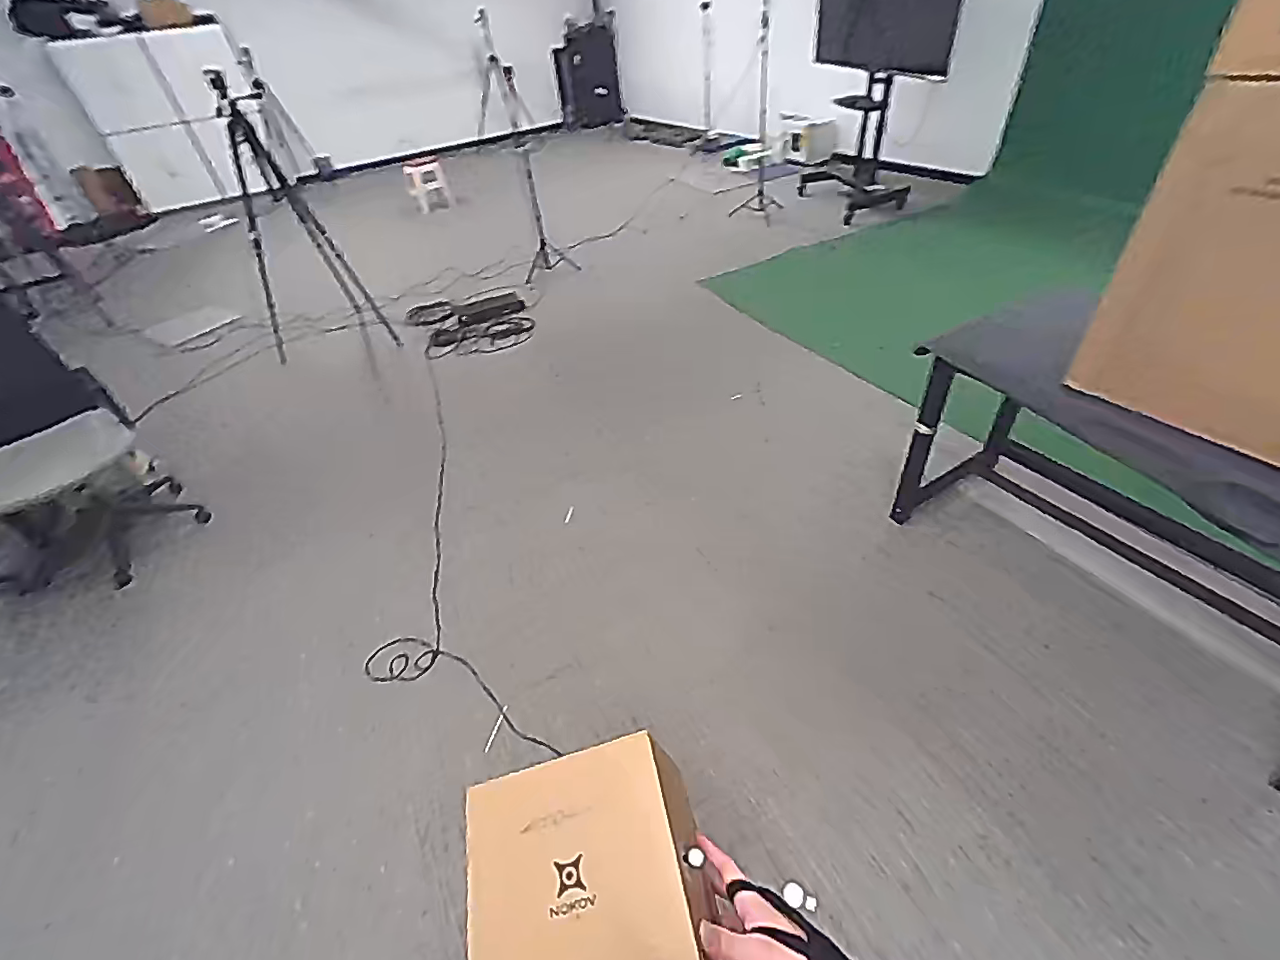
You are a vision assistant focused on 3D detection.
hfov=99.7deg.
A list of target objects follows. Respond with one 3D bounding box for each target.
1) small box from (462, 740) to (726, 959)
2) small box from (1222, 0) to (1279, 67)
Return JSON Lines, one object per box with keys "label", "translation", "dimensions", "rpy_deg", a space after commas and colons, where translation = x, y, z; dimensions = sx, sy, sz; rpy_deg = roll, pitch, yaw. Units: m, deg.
{"label": "small box", "translation": [-0.034, 0.353, 0.459], "dimensions": [0.168, 0.176, 0.179], "rpy_deg": [-19, 48, 2]}
{"label": "small box", "translation": [1.096, -0.770, 0.856], "dimensions": [0.179, 0.176, 0.168], "rpy_deg": [-27, 44, -19]}
